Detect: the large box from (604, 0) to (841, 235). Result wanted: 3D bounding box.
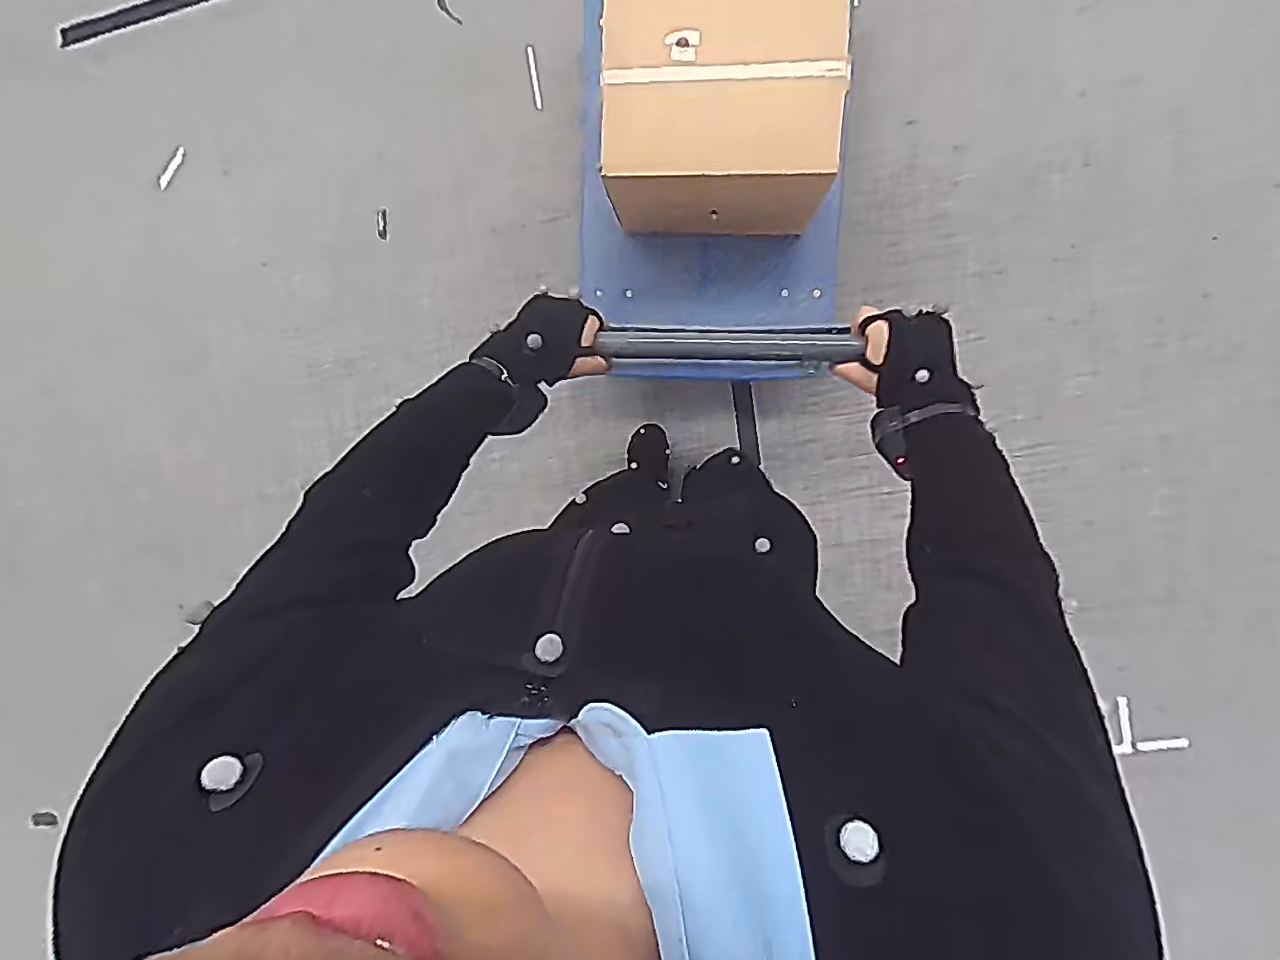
[{"bbox_3d":[0.154,-0.697,1.072,0.408,0.320,0.320,2,96,7],"label":"large box"}]
